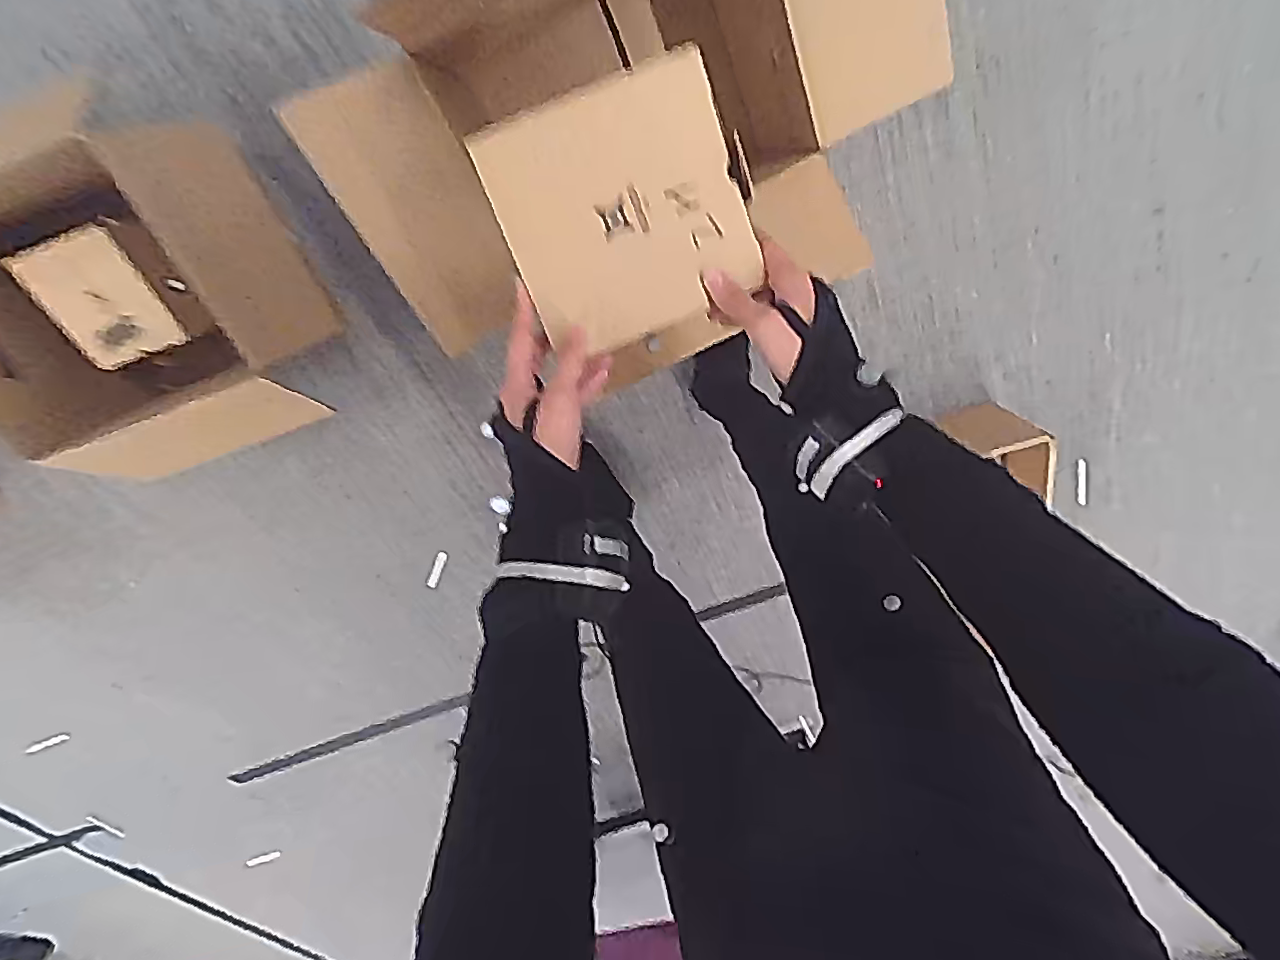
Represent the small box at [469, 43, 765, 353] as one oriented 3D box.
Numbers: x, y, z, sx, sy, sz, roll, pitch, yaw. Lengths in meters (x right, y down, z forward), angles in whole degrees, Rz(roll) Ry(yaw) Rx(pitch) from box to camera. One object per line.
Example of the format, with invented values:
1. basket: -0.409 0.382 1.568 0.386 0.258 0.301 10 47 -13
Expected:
1. small box: -0.017 -0.216 0.469 0.179 0.176 0.168 -21 105 1
